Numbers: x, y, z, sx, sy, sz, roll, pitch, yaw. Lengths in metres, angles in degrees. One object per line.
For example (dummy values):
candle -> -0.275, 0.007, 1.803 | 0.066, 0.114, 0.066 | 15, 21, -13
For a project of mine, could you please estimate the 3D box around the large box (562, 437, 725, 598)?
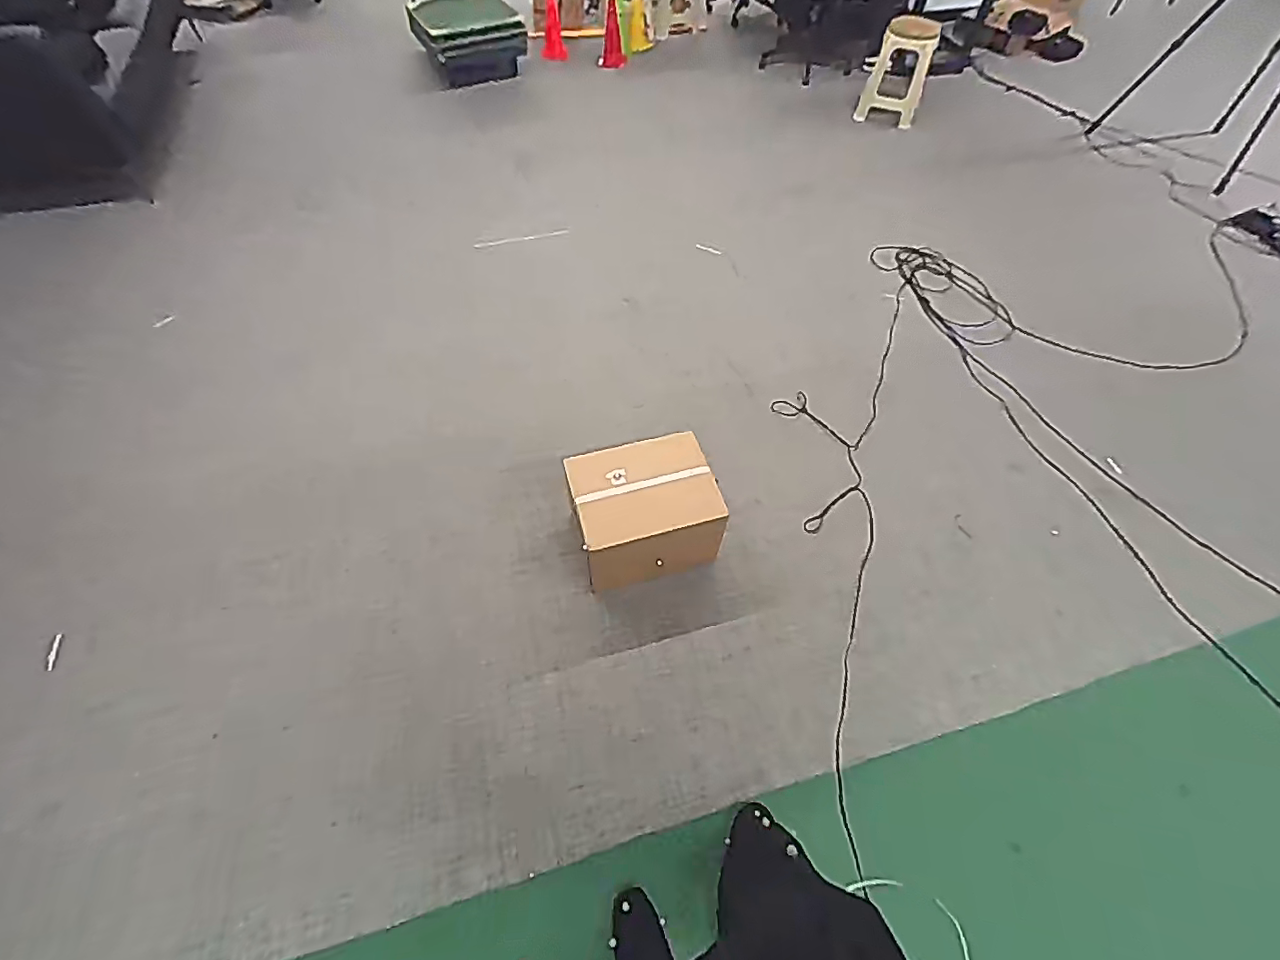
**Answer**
large box -> 0.004, 0.121, 1.671 | 0.408, 0.320, 0.320 | -15, 57, -10
